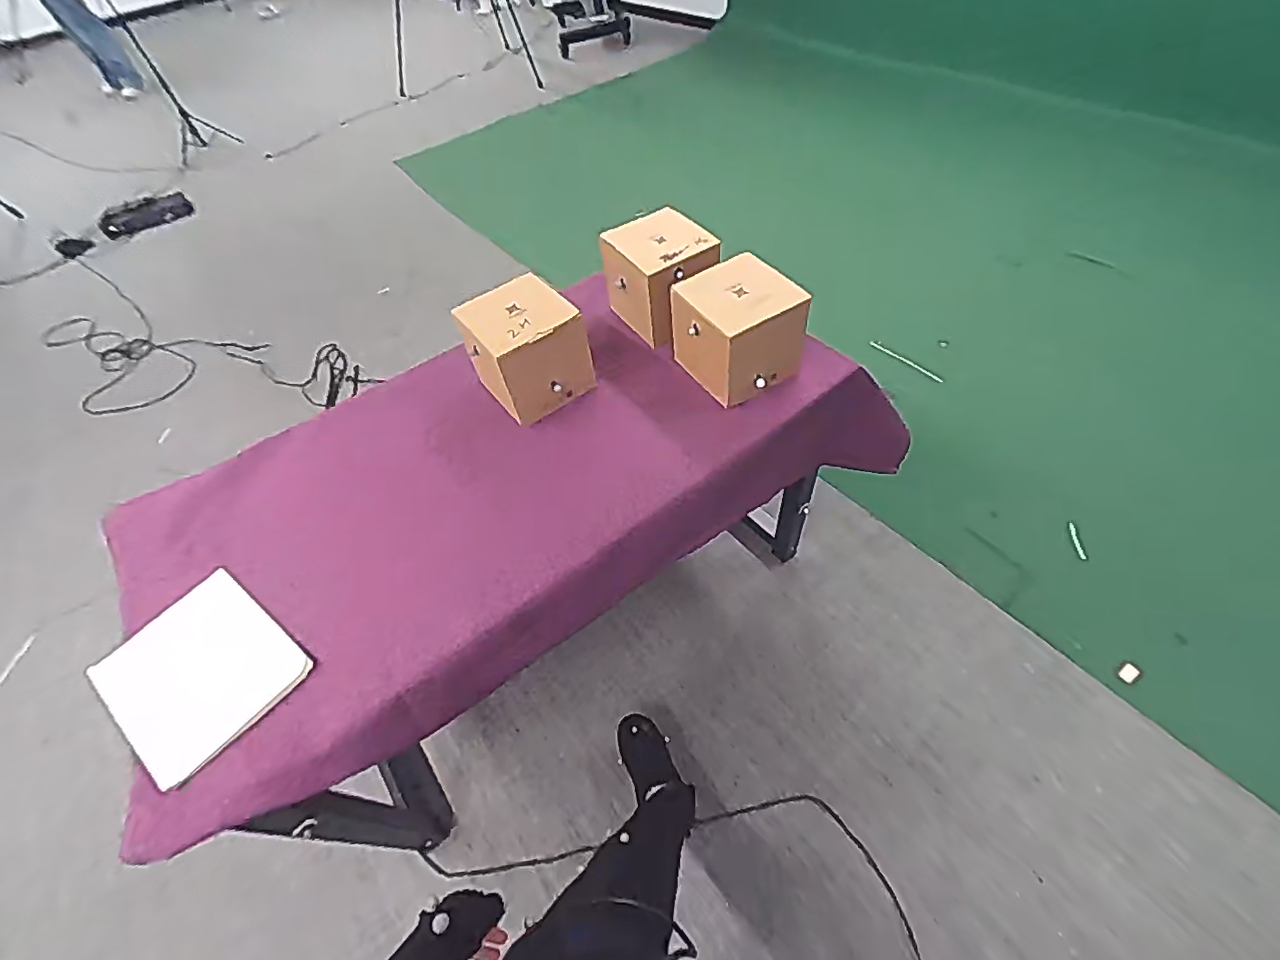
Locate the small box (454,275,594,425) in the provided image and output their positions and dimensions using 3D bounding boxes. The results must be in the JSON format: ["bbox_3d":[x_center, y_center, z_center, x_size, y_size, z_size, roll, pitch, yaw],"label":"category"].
[{"bbox_3d":[-0.203,-0.232,0.976,0.168,0.176,0.179,-33,58,-18],"label":"small box"}]

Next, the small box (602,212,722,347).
[{"bbox_3d":[0.045,-0.395,1.073,0.168,0.176,0.179,-29,55,-15],"label":"small box"}]
